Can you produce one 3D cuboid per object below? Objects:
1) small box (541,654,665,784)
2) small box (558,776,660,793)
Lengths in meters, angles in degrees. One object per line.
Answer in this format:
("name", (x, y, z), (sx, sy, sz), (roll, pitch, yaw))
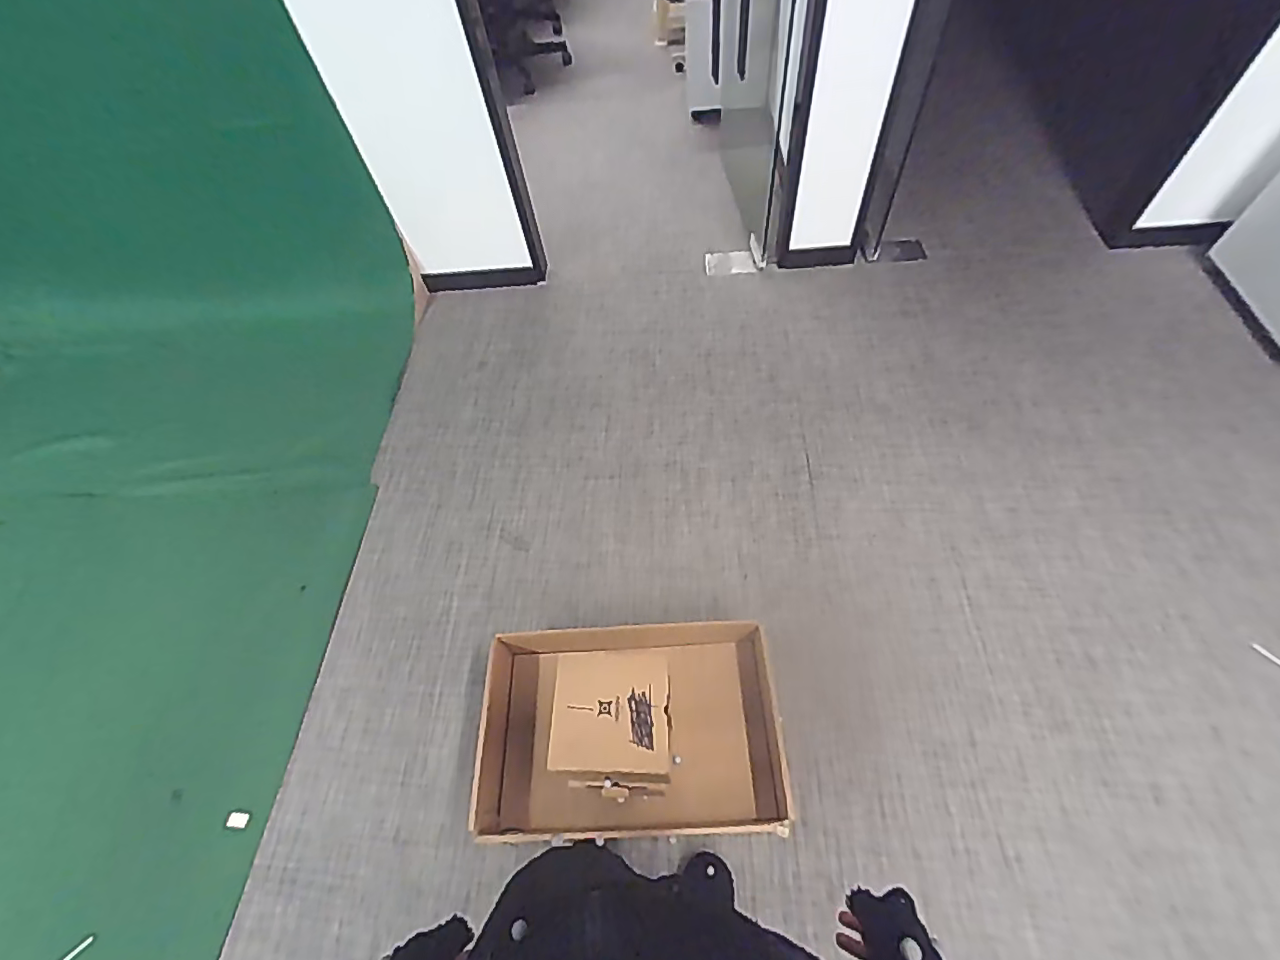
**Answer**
("small box", (-0.048, 0.391, 0.879), (0.179, 0.176, 0.168), (0, 56, 5))
("small box", (-0.047, 0.476, 1.001), (0.168, 0.176, 0.179), (0, 58, 4))
